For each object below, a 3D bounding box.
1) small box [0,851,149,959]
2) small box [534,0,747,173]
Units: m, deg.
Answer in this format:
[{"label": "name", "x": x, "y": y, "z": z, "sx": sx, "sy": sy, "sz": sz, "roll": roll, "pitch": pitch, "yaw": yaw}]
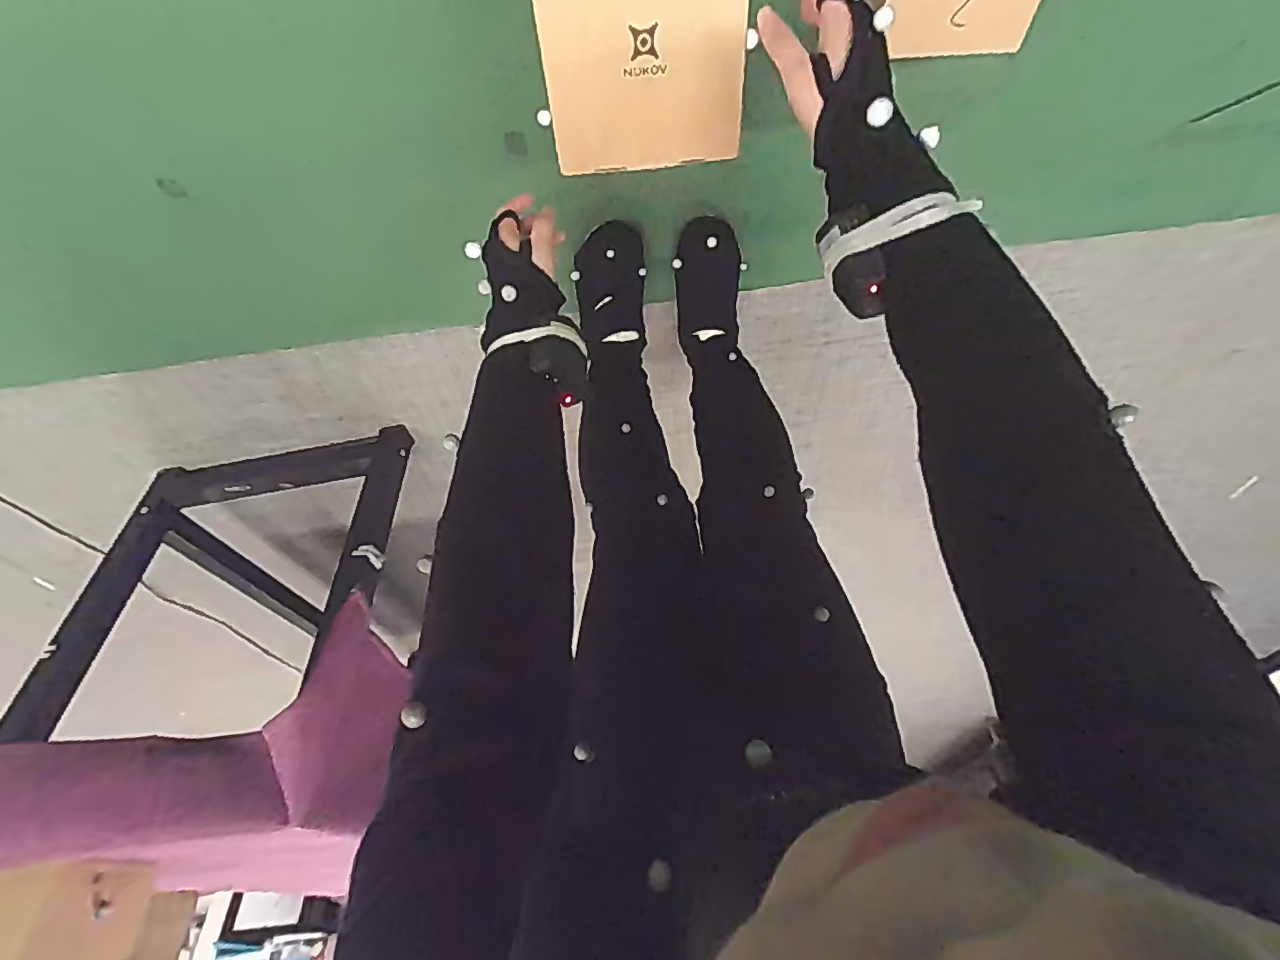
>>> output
[{"label": "small box", "x": -0.854, "y": 0.634, "z": 0.749, "sx": 0.179, "sy": 0.176, "sz": 0.168, "roll": -10, "pitch": 142, "yaw": 0}, {"label": "small box", "x": -0.004, "y": -0.406, "z": 0.481, "sx": 0.168, "sy": 0.176, "sz": 0.179, "roll": -6, "pitch": 141, "yaw": 1}]
